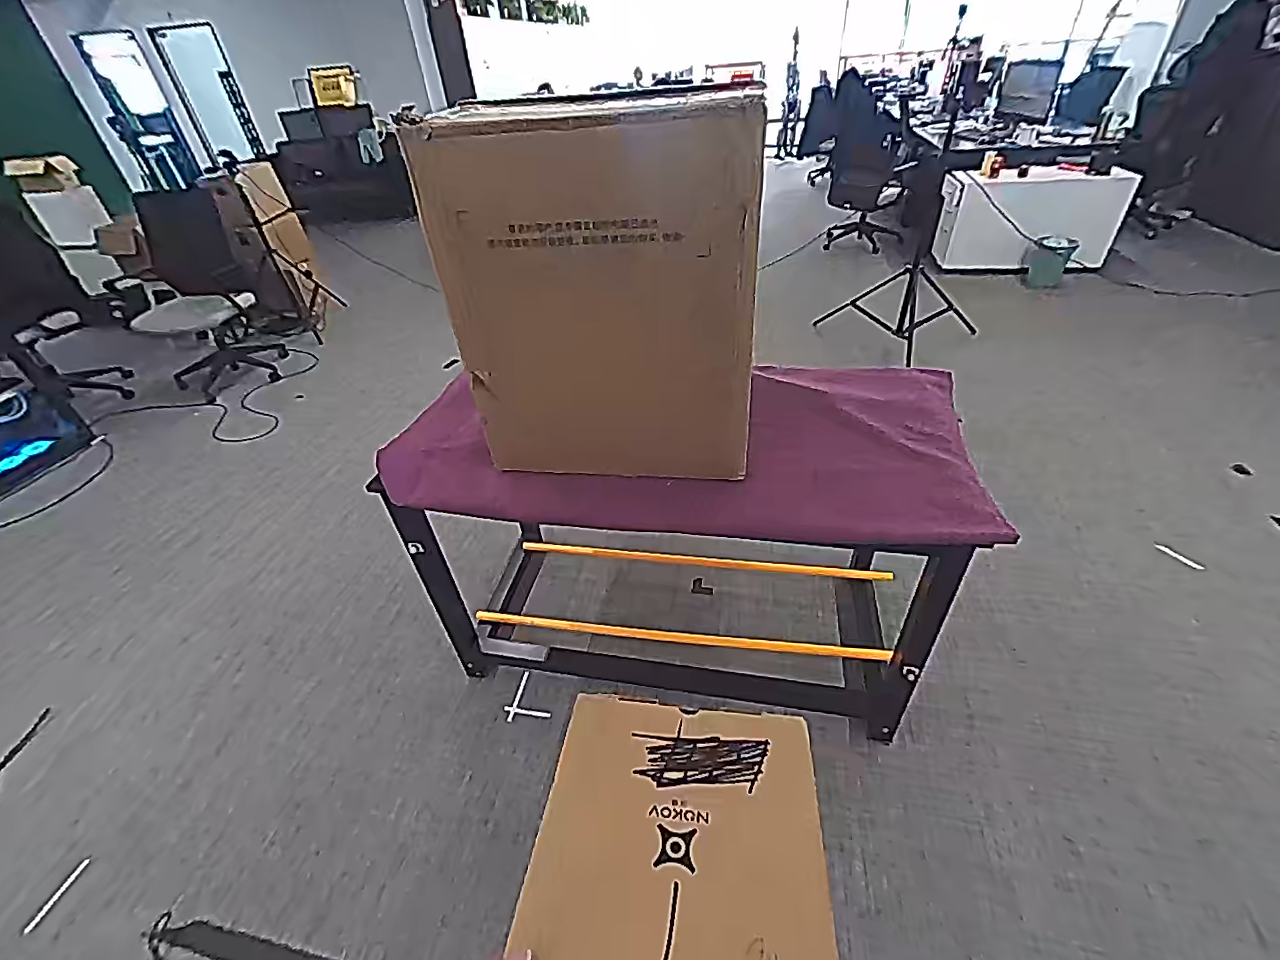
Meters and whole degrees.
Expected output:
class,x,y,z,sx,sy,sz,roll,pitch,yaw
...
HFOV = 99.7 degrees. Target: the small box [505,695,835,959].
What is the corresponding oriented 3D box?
class,x,y,z,sx,sy,sz,roll,pitch,yaw
small box,0.026,0.278,0.361,0.168,0.176,0.179,3,30,8
